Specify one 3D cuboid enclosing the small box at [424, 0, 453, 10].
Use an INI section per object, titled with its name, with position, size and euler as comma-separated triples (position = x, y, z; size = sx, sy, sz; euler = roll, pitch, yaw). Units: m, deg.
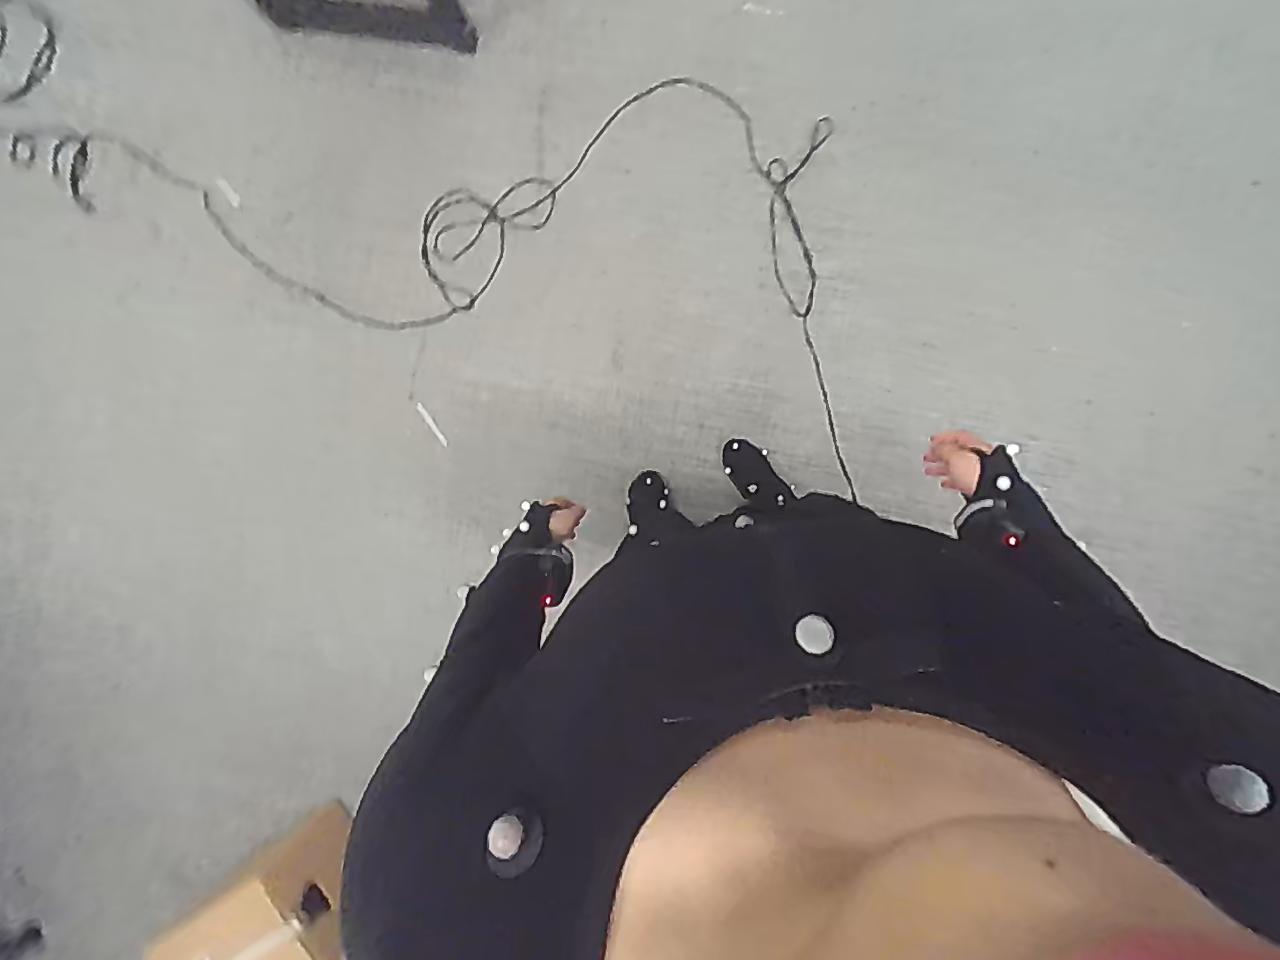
[small box]
position = -0.546, -1.364, 1.377
size = 0.179, 0.176, 0.168
euler = 44, 96, 2
